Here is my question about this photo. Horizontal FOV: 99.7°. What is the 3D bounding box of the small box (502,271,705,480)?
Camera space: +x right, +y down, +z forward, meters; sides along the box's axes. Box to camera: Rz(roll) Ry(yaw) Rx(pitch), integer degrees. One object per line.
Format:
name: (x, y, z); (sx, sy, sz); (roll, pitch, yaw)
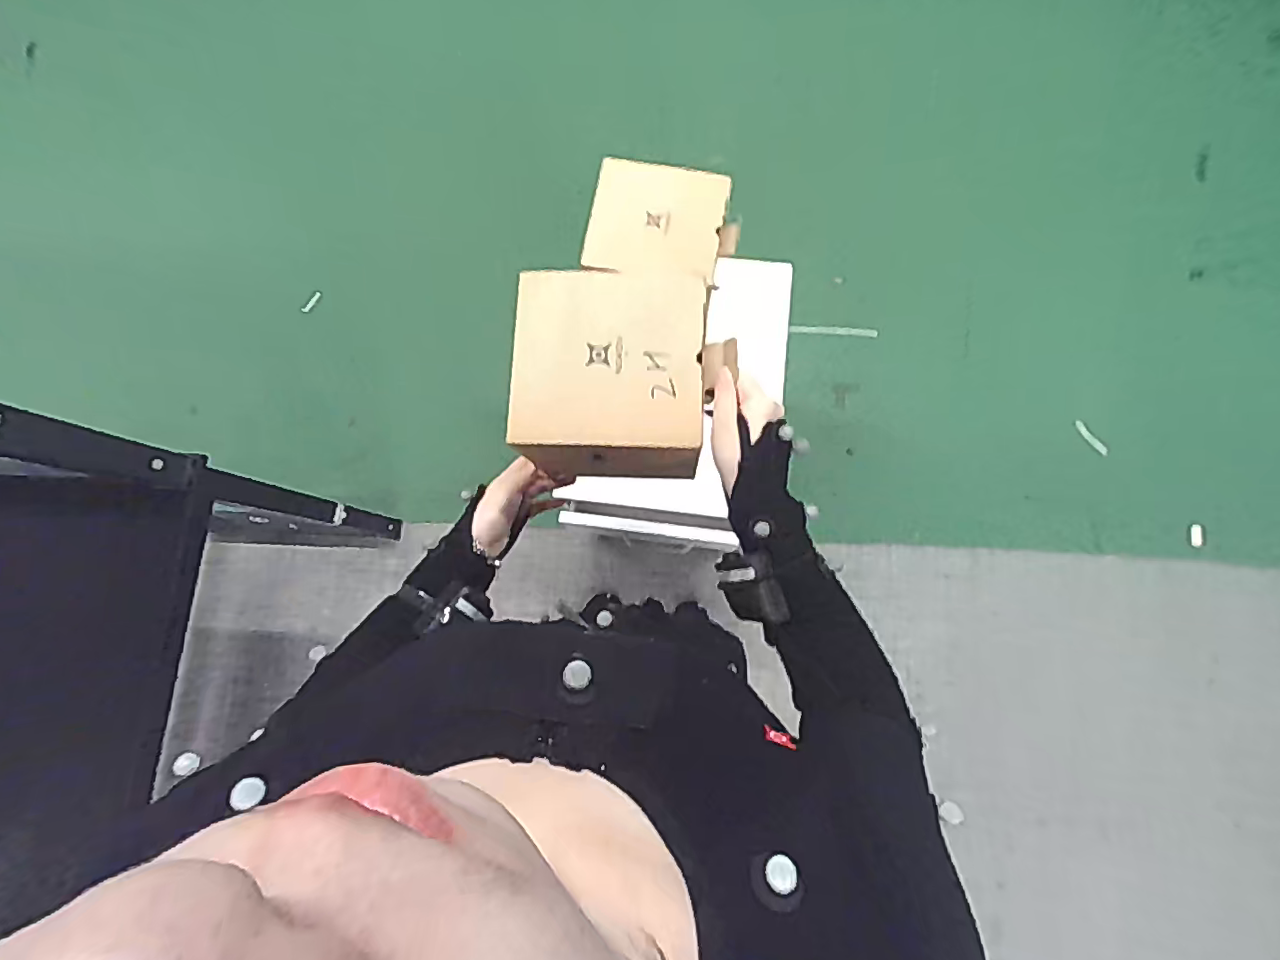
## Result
small box: (-0.026, -0.094, 0.555); (0.179, 0.176, 0.168); (1, 81, 3)

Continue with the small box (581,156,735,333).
small box: (0.026, -0.320, 0.772); (0.179, 0.176, 0.168); (10, 79, 3)
